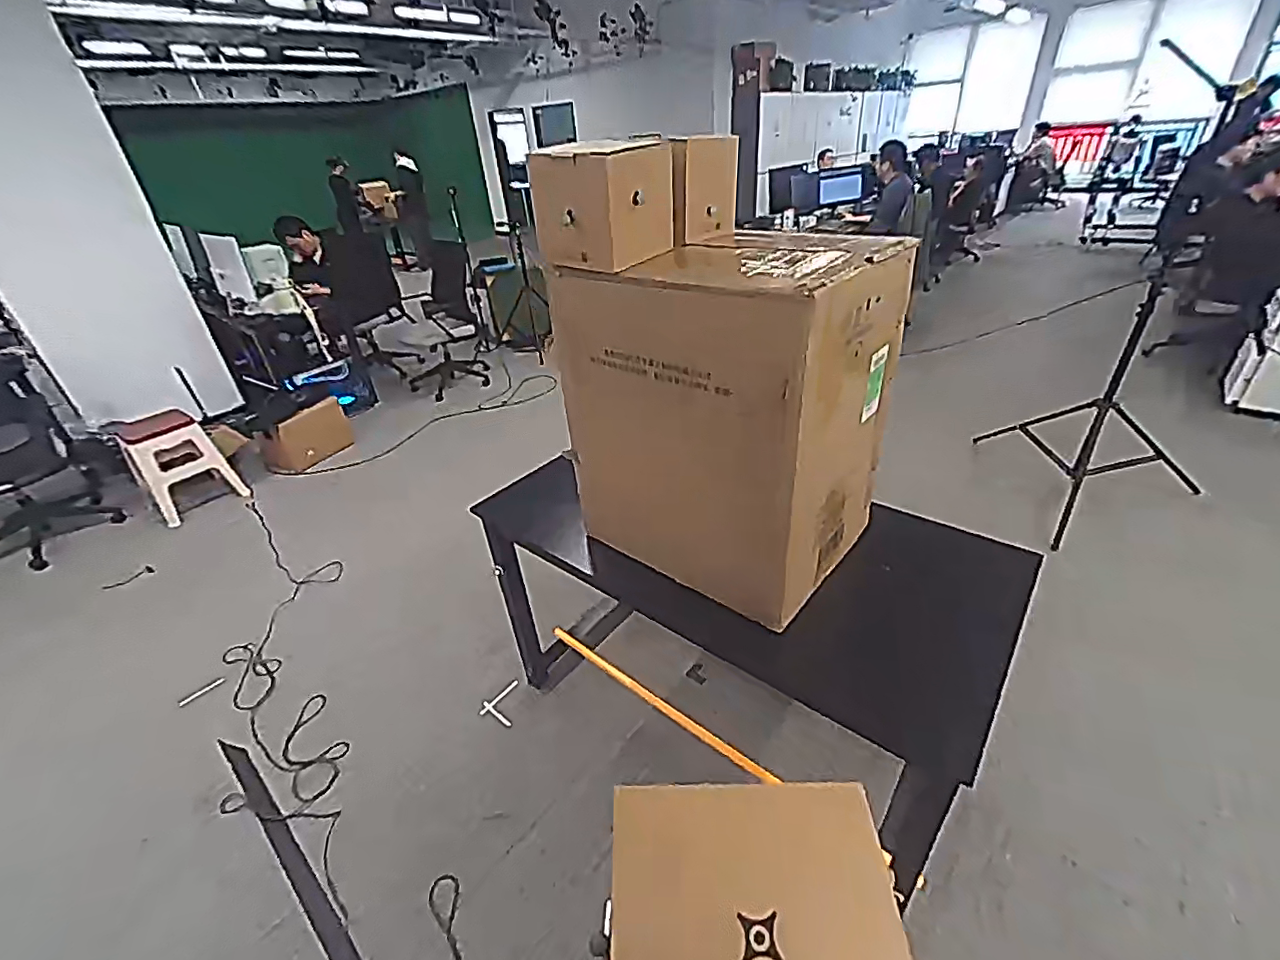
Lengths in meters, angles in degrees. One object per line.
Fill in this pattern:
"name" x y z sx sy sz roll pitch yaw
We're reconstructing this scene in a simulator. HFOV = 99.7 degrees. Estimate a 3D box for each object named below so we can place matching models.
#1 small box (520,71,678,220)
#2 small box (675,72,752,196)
"small box" -0.050 -0.504 0.820 0.168 0.176 0.179 21 44 29
"small box" 0.075 -0.601 0.953 0.179 0.176 0.168 24 41 34
